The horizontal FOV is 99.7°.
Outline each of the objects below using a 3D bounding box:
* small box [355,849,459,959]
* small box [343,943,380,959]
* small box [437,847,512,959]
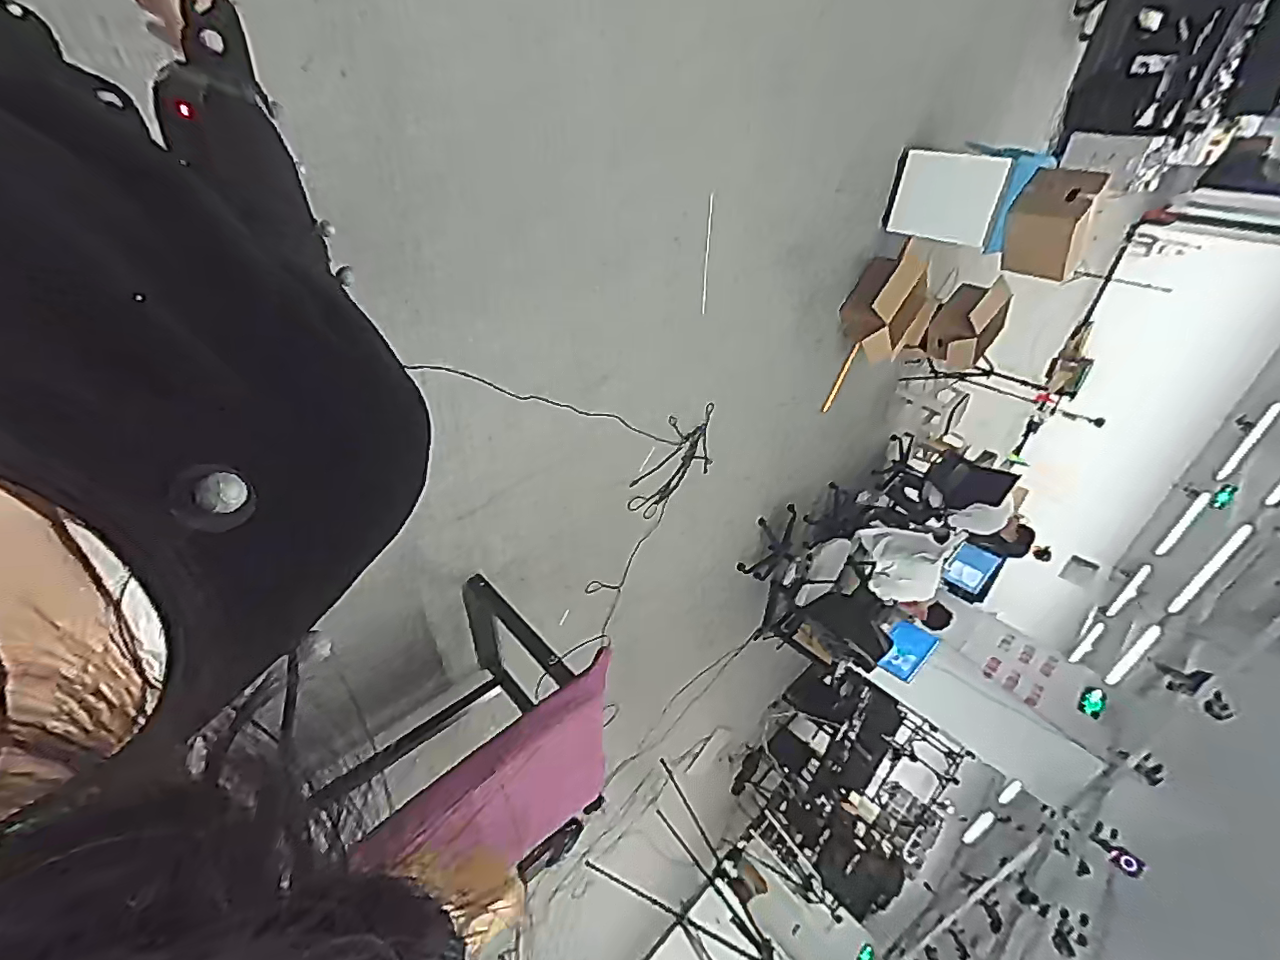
[{"bbox_3d":[-0.571,1.057,1.326,0.168,0.176,0.179,-27,135,-36],"label":"small box"},{"bbox_3d":[-0.719,1.318,1.350,0.168,0.176,0.179,-29,137,-34],"label":"small box"},{"bbox_3d":[-0.484,1.200,1.542,0.168,0.176,0.179,-17,129,-41],"label":"small box"}]
